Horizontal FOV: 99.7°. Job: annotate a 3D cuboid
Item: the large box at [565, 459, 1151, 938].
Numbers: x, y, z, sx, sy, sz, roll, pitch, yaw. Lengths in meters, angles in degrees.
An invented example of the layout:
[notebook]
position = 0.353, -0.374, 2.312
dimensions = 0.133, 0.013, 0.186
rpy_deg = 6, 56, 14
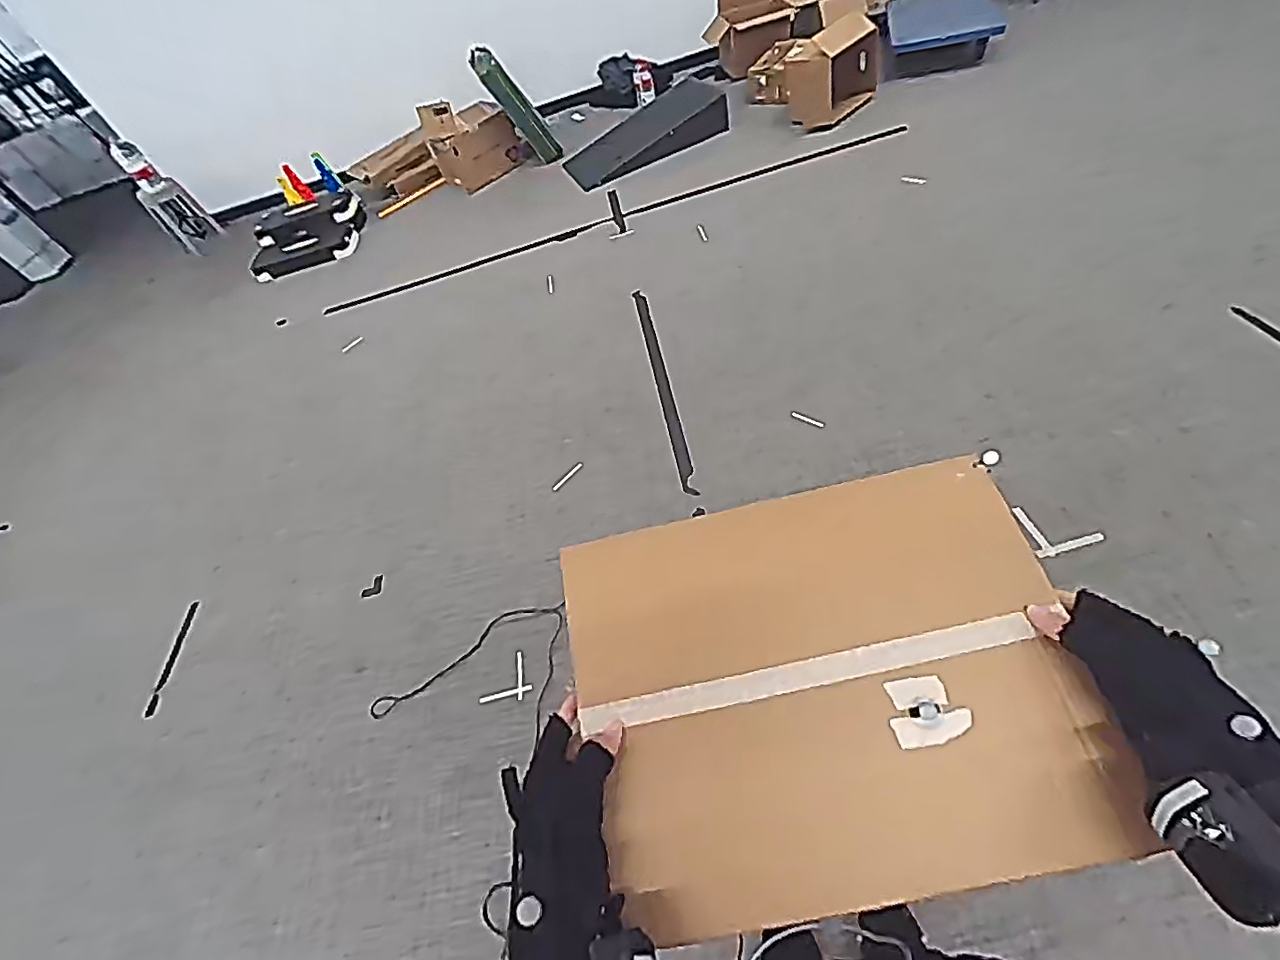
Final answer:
[large box]
position = 0.165, 0.225, 0.591
dimensions = 0.408, 0.320, 0.320
rpy_deg = -13, 63, 2
